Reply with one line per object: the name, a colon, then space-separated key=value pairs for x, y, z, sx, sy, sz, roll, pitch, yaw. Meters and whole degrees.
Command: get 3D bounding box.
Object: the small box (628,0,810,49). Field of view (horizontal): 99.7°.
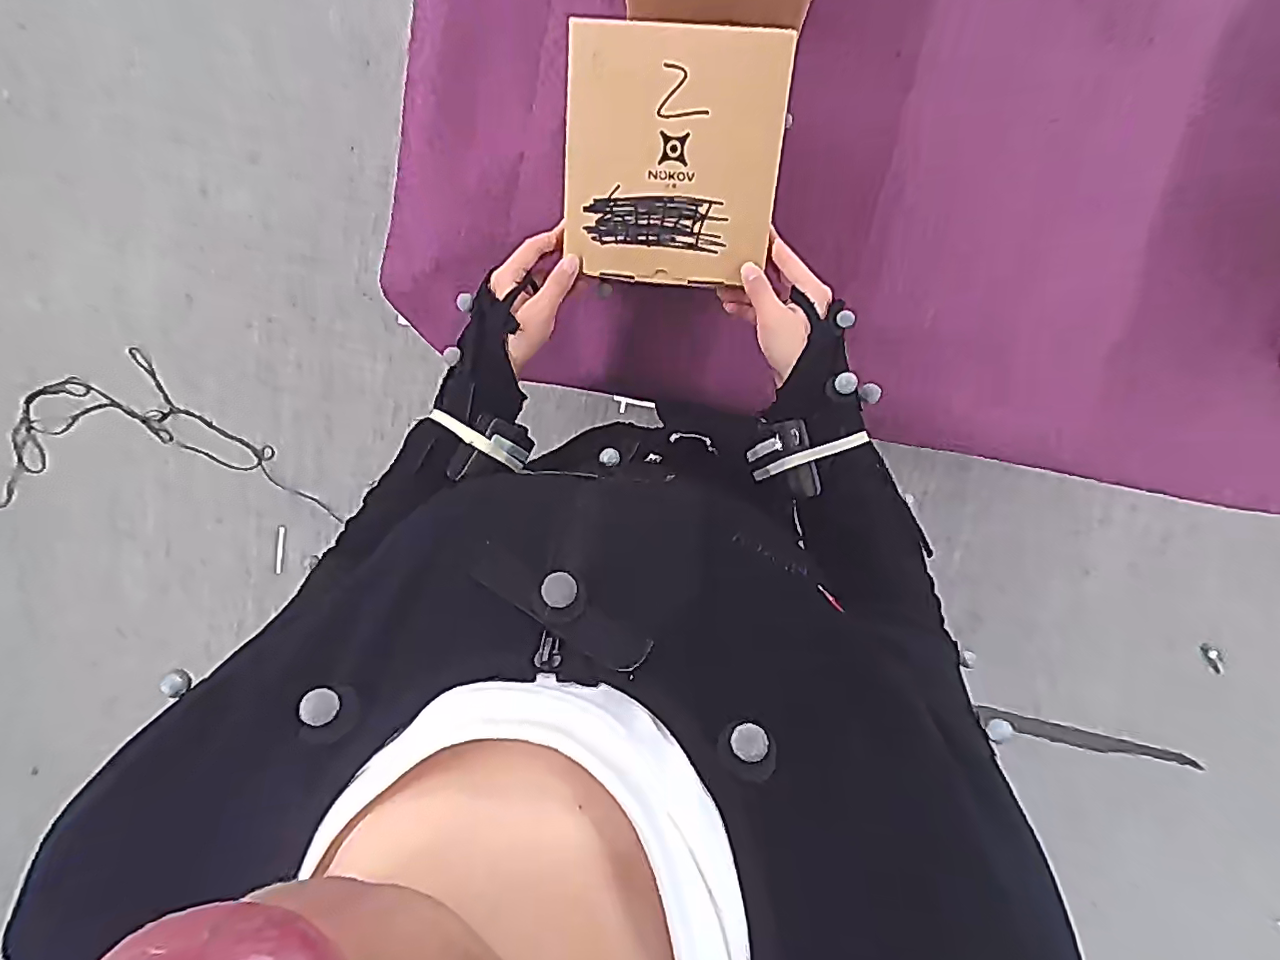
small box: x=0.081 y=-0.520 z=0.472 sx=0.179 sy=0.176 sz=0.168 roll=8 pitch=99 yaw=3
